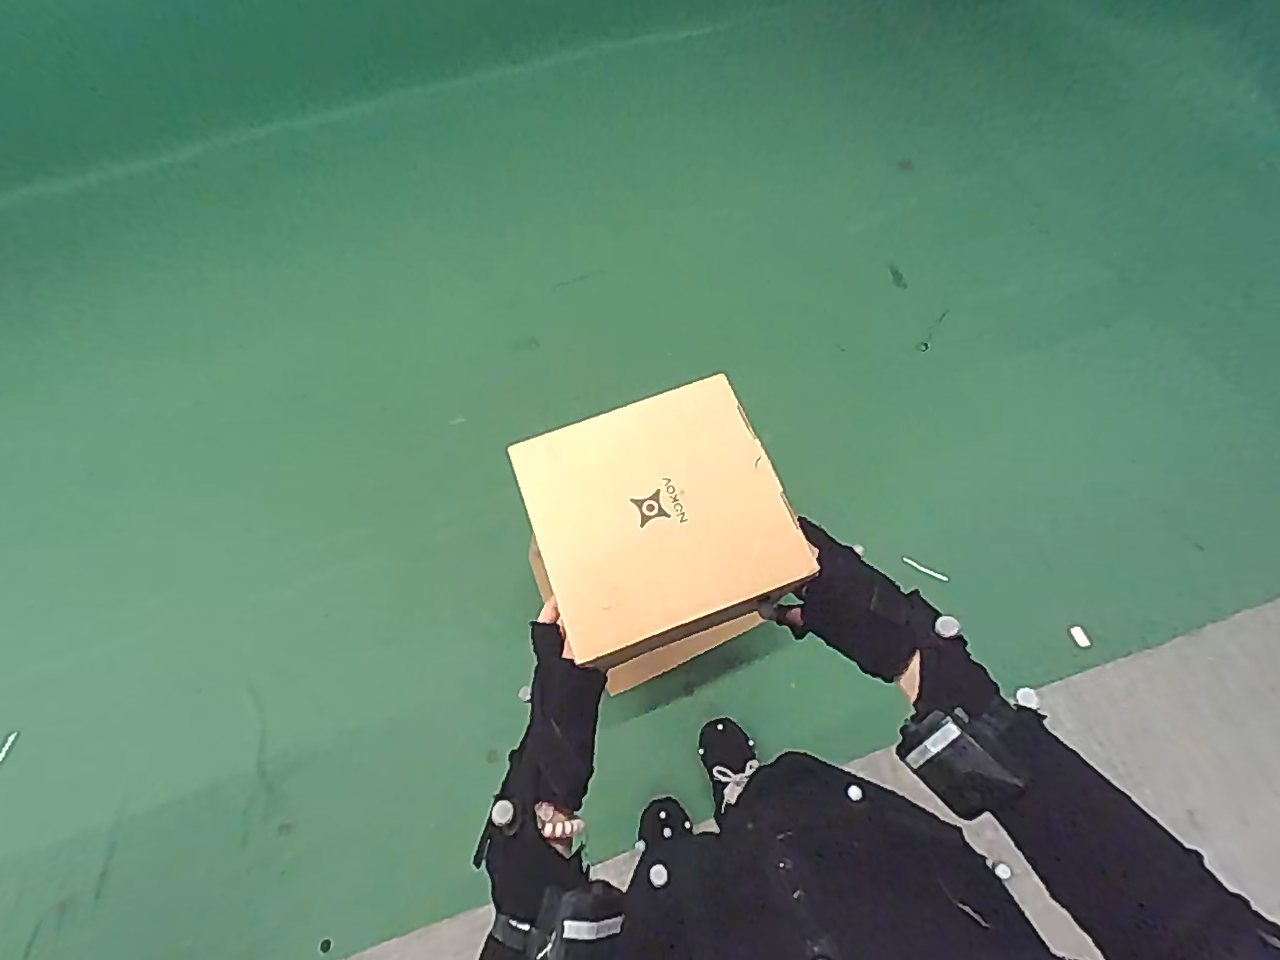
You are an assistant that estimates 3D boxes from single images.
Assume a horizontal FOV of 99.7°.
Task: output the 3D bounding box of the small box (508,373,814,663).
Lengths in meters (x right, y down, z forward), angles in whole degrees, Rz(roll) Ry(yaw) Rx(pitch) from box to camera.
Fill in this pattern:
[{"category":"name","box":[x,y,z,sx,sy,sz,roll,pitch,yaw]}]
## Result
[{"category":"small box","box":[0.013,0.045,0.453,0.179,0.176,0.168,-20,70,-5]}]
